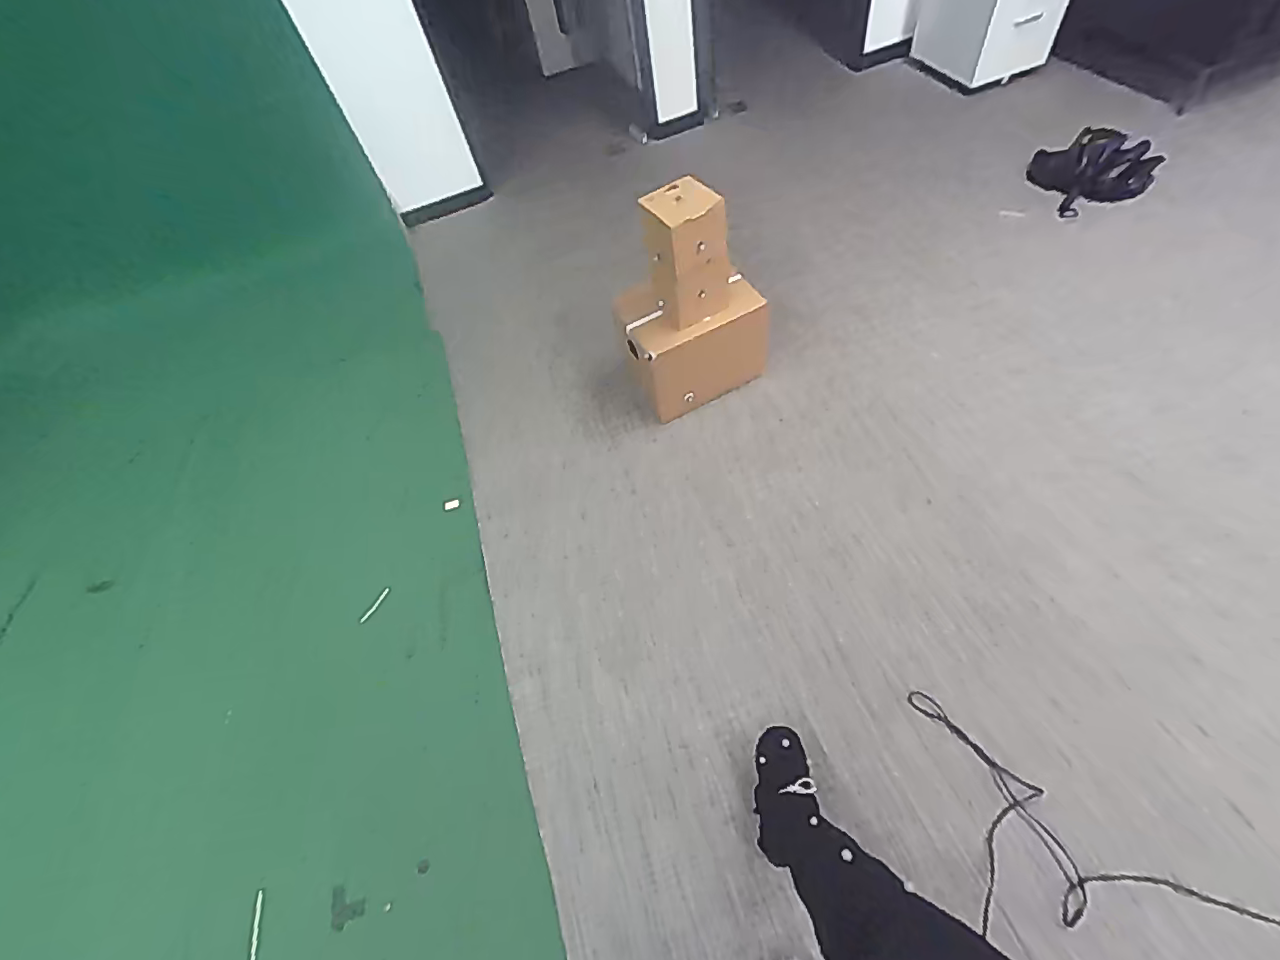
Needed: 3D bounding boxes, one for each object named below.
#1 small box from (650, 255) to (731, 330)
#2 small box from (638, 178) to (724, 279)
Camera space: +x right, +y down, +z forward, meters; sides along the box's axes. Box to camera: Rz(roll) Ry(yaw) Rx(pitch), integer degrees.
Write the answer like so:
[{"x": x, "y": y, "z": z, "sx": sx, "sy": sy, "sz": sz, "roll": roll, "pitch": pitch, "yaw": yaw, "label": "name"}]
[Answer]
[{"x": 0.148, "y": -0.579, "z": 1.589, "sx": 0.179, "sy": 0.176, "sz": 0.168, "roll": -30, "pitch": 57, "yaw": -12, "label": "small box"}, {"x": 0.117, "y": -0.670, "z": 1.458, "sx": 0.168, "sy": 0.176, "sz": 0.179, "roll": -29, "pitch": 57, "yaw": -9, "label": "small box"}]
